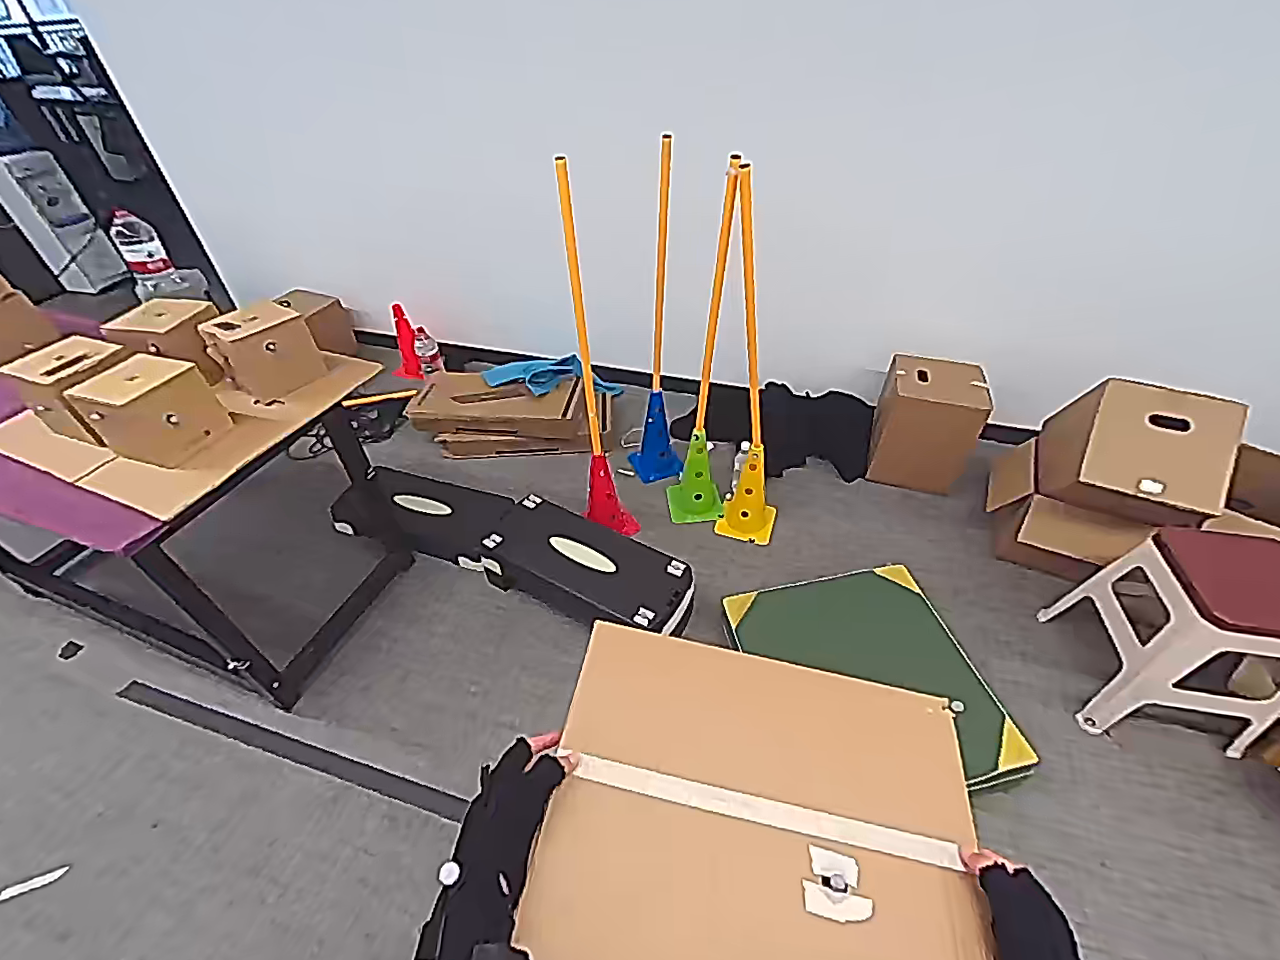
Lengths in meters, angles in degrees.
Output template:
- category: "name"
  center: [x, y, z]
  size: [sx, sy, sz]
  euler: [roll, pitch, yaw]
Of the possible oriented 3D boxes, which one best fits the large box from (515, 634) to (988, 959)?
- category: "large box"
  center: [0.105, 0.428, 0.631]
  size: [0.408, 0.320, 0.320]
  euler: [12, 47, 5]
